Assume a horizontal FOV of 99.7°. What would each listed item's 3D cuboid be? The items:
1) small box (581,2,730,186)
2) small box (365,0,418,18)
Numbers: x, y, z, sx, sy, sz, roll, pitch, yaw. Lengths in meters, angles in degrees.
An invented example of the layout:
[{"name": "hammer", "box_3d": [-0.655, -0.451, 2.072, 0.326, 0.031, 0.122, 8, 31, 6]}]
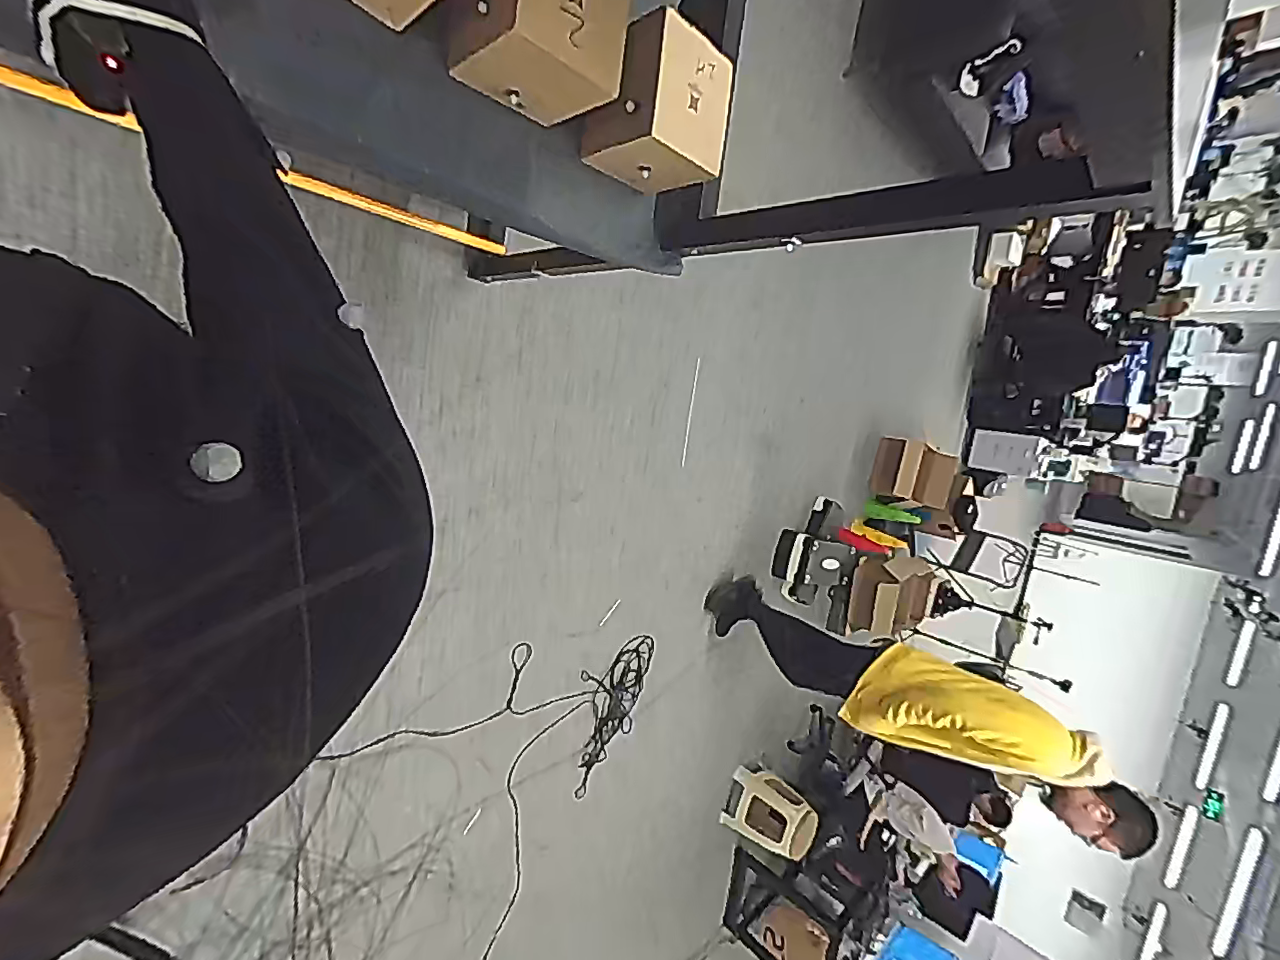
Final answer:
[{"name": "small box", "box_3d": [0.021, -0.606, 0.882, 0.168, 0.176, 0.179, -3, 104, -47]}, {"name": "small box", "box_3d": [-0.284, -0.638, 0.555, 0.168, 0.176, 0.179, 5, 98, -47]}]
